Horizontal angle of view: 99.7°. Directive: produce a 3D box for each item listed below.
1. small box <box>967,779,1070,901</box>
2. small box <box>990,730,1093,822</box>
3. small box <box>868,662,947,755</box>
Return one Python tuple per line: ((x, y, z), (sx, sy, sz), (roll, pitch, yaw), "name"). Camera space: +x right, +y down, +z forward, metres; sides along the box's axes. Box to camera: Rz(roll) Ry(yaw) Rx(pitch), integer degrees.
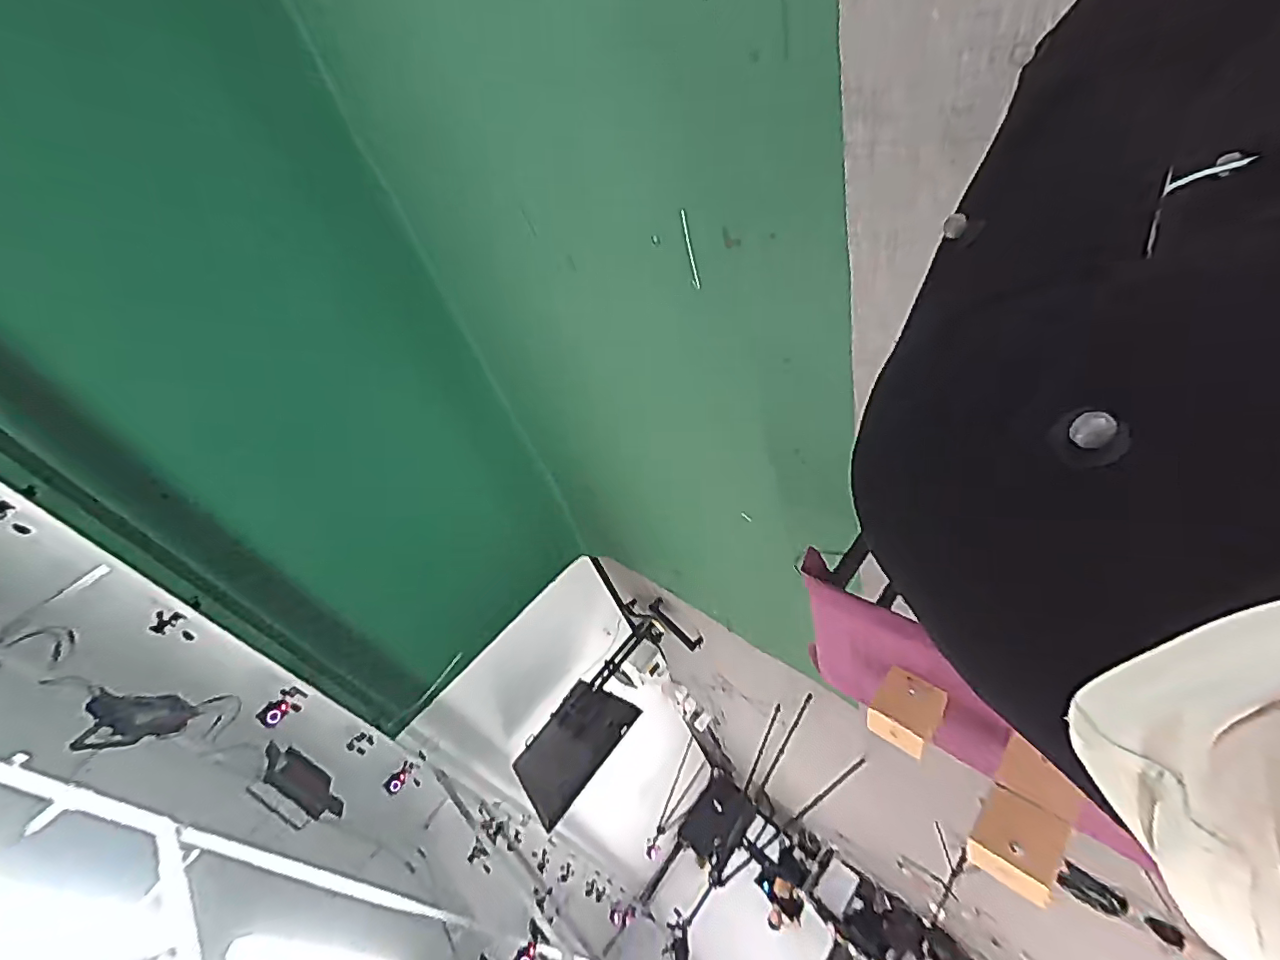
((0.960, 0.909, 1.376), (0.179, 0.176, 0.168), (20, 145, 44), "small box")
((1.065, 0.803, 1.444), (0.179, 0.176, 0.168), (21, 147, 44), "small box")
((0.824, 0.702, 1.671), (0.168, 0.176, 0.179), (24, 149, 38), "small box")
